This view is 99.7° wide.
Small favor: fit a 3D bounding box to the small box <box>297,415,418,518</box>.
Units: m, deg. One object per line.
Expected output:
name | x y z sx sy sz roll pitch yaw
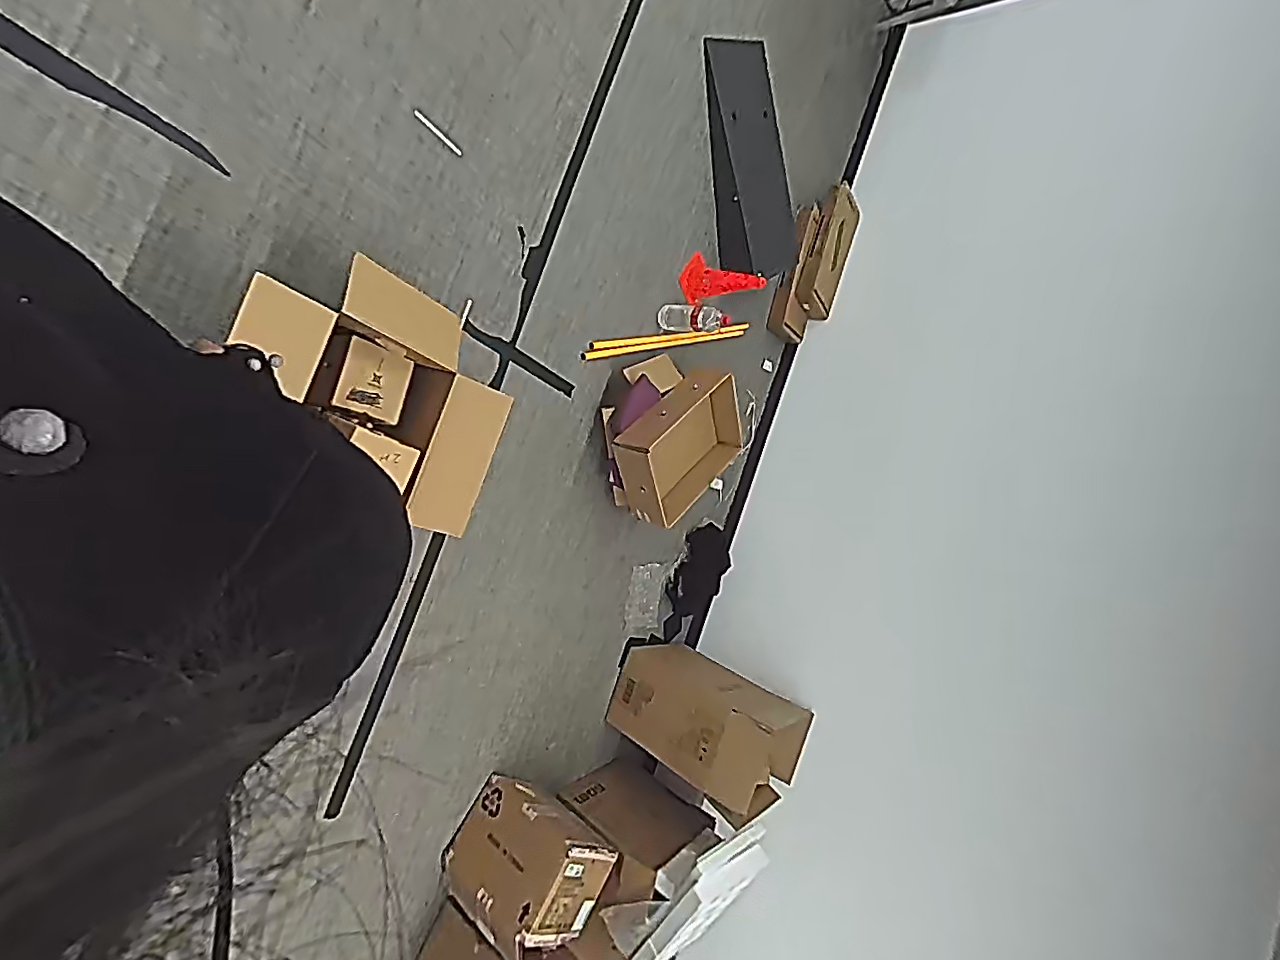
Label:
small box | -0.658 -0.032 1.251 0.168 0.176 0.179 29 80 -54
